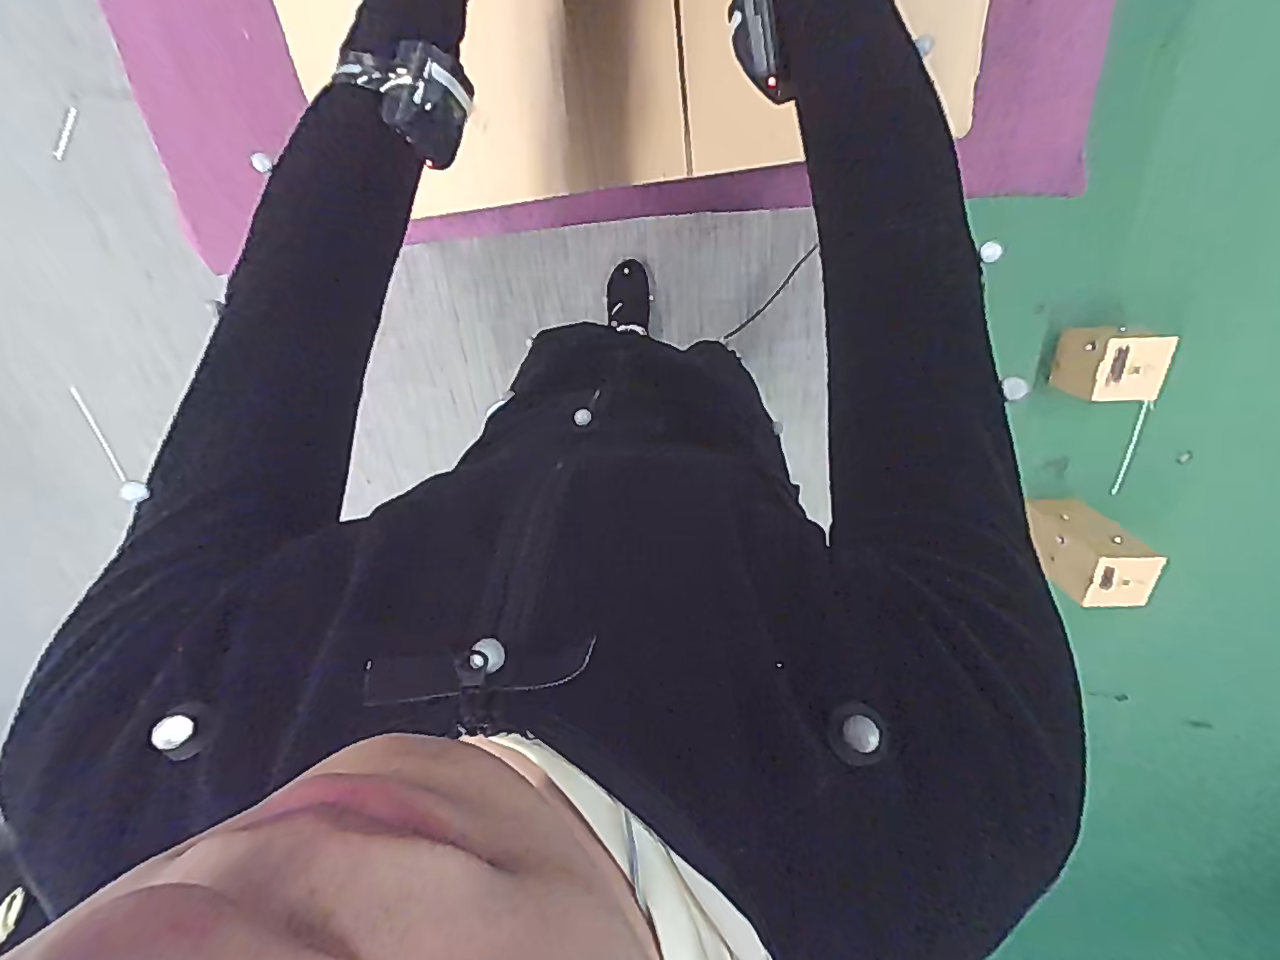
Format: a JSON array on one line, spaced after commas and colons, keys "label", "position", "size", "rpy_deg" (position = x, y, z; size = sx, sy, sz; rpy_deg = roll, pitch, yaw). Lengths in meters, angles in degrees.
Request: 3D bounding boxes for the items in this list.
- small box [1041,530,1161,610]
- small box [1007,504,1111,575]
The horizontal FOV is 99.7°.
[{"label": "small box", "position": [1.301, 0.252, 1.544], "size": [0.179, 0.176, 0.168], "rpy_deg": [-1, 116, 1]}, {"label": "small box", "position": [1.302, 0.182, 1.692], "size": [0.179, 0.176, 0.168], "rpy_deg": [-1, 115, 2]}]
